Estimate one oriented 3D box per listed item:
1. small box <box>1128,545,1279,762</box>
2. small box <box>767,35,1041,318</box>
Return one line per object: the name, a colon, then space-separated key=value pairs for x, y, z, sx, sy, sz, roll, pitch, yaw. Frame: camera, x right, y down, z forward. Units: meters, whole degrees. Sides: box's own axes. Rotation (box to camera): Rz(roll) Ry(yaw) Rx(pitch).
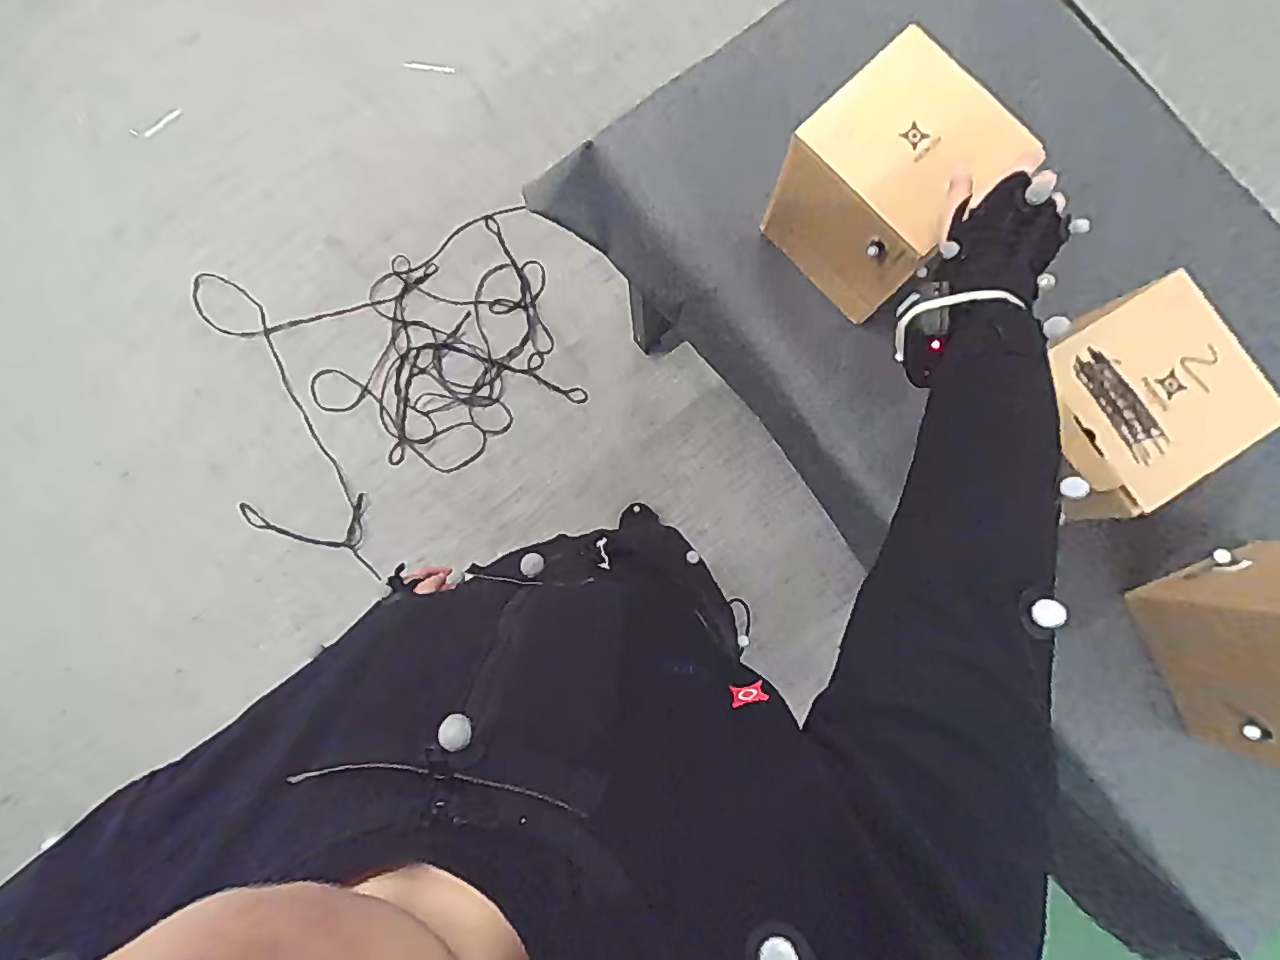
small box: x=0.671 y=0.173 z=0.549 sx=0.168 sy=0.176 sz=0.179 roll=-21 pitch=84 yaw=-2
small box: x=0.268 y=-0.314 z=0.598 sx=0.168 sy=0.176 sz=0.179 roll=-43 pitch=87 yaw=-3
